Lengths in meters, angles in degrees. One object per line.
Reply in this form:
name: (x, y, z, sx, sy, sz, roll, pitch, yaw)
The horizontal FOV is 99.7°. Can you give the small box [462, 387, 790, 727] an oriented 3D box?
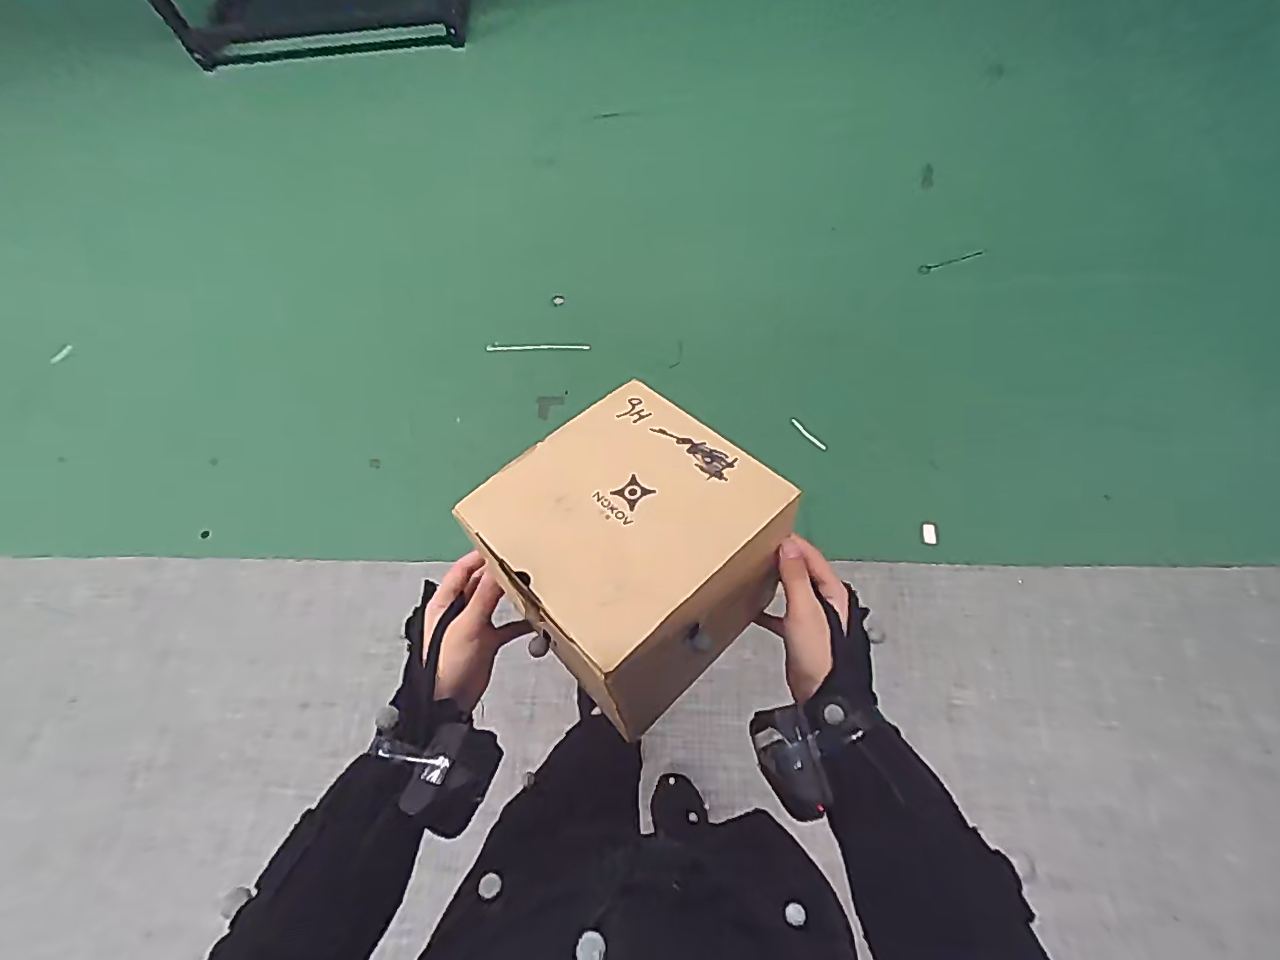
small box: (-0.004, 0.065, 0.438, 0.179, 0.176, 0.168, -38, 58, -21)
